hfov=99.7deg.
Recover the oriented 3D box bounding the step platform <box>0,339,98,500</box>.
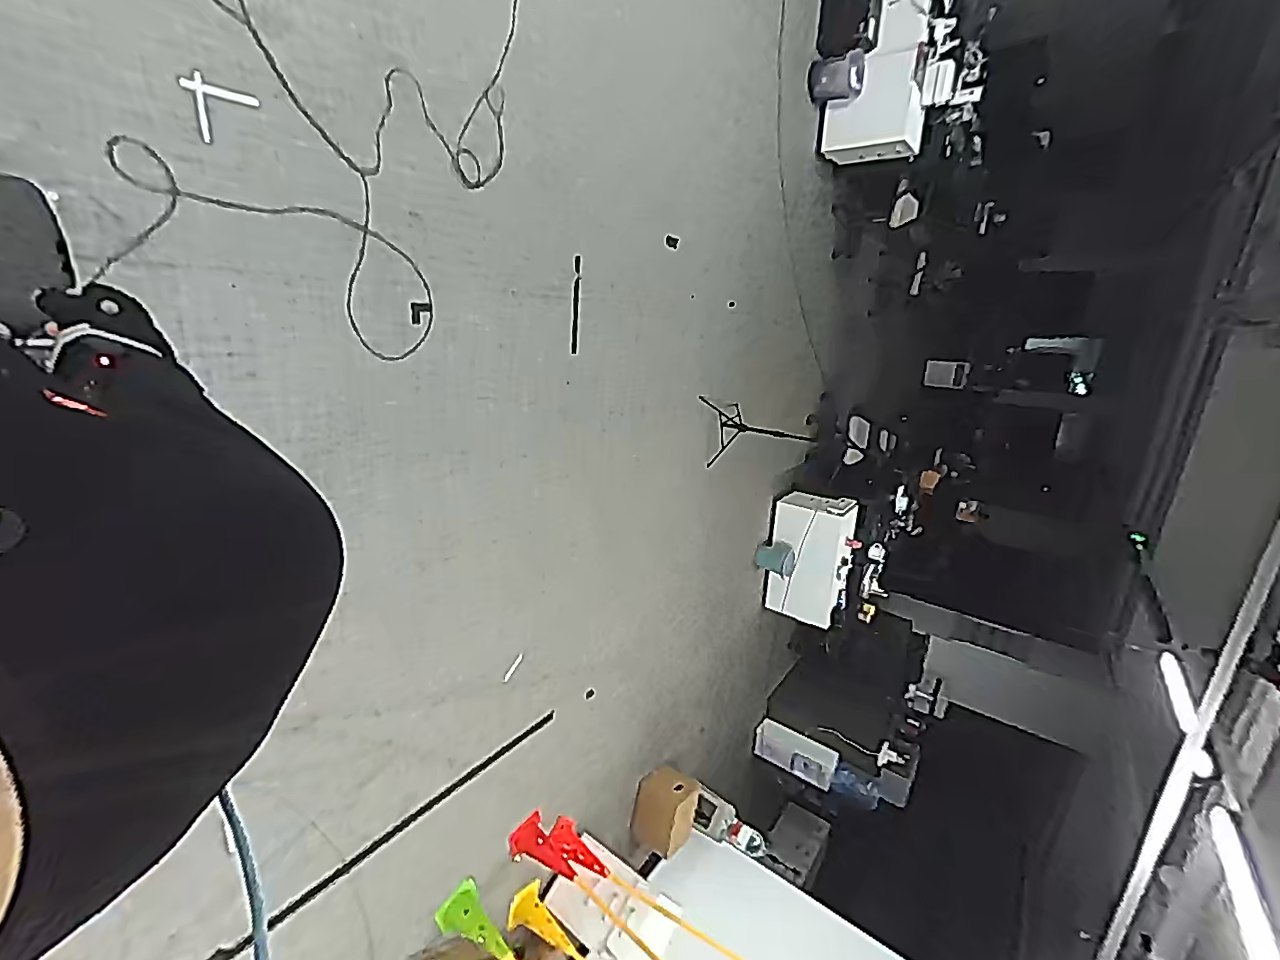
[{"bbox_3d":[-1.355,-0.070,0.868,0.684,0.204,0.286,-19,117,-49],"label":"step platform"}]
